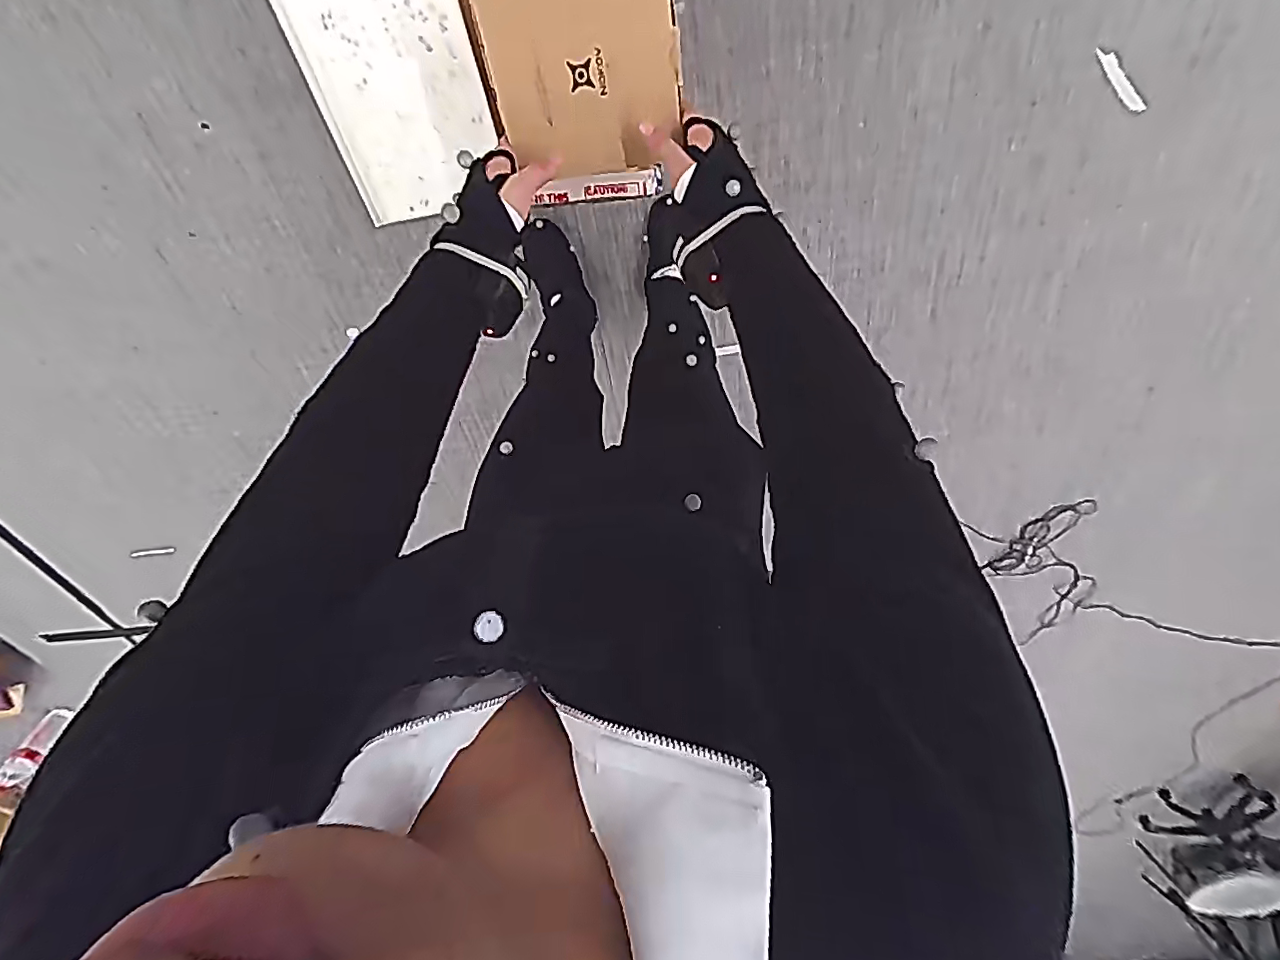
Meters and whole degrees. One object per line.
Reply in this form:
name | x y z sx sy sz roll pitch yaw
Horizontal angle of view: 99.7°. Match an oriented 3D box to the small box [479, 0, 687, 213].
small box | -0.048 -0.409 0.585 0.179 0.176 0.168 -7 128 6
